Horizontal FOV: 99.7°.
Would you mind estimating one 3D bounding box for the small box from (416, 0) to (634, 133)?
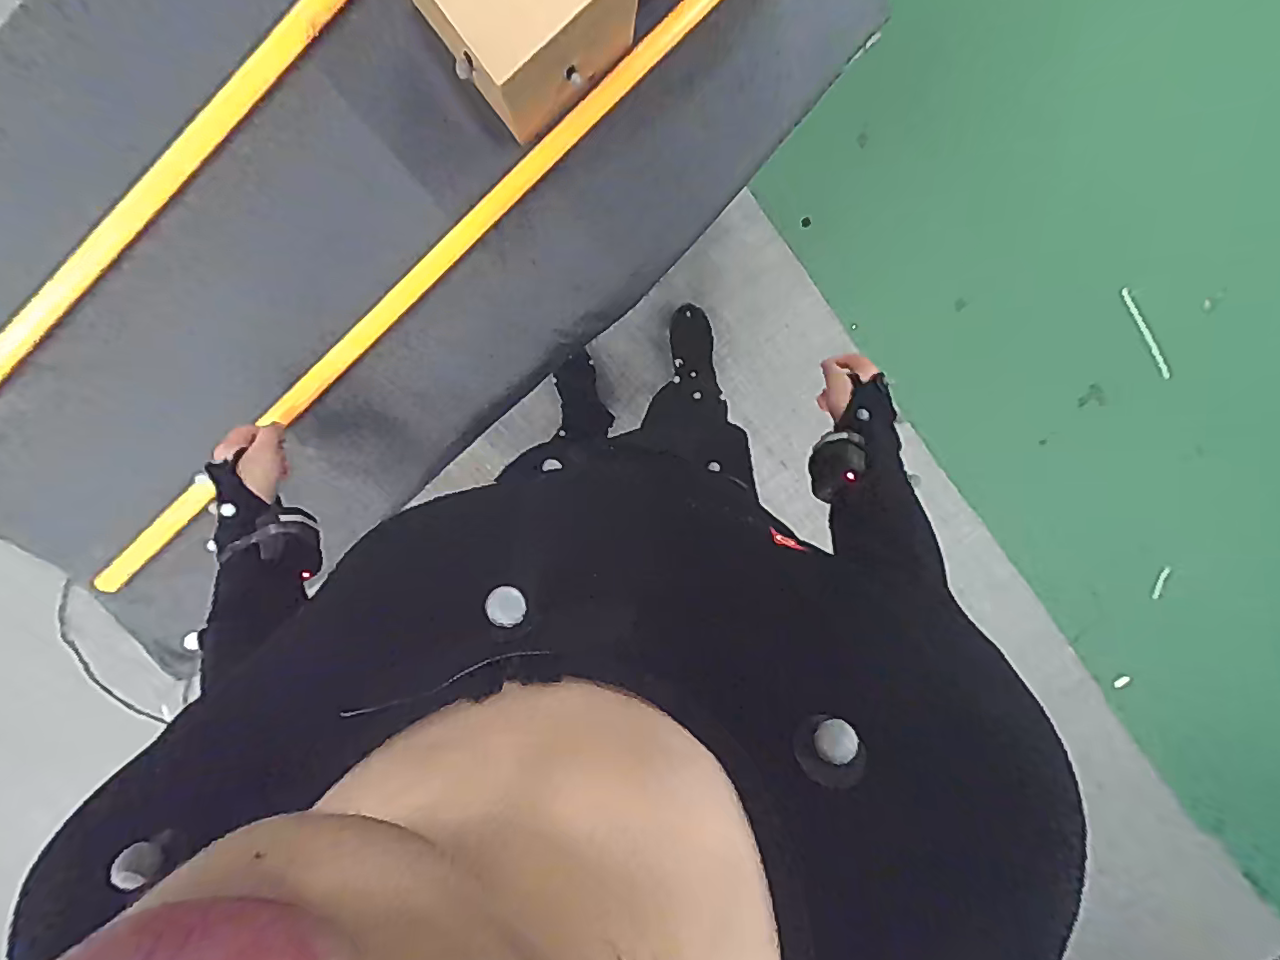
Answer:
[{"bbox_3d":[-0.114,-0.469,0.514,0.168,0.176,0.179,-38,106,6],"label":"small box"}]
